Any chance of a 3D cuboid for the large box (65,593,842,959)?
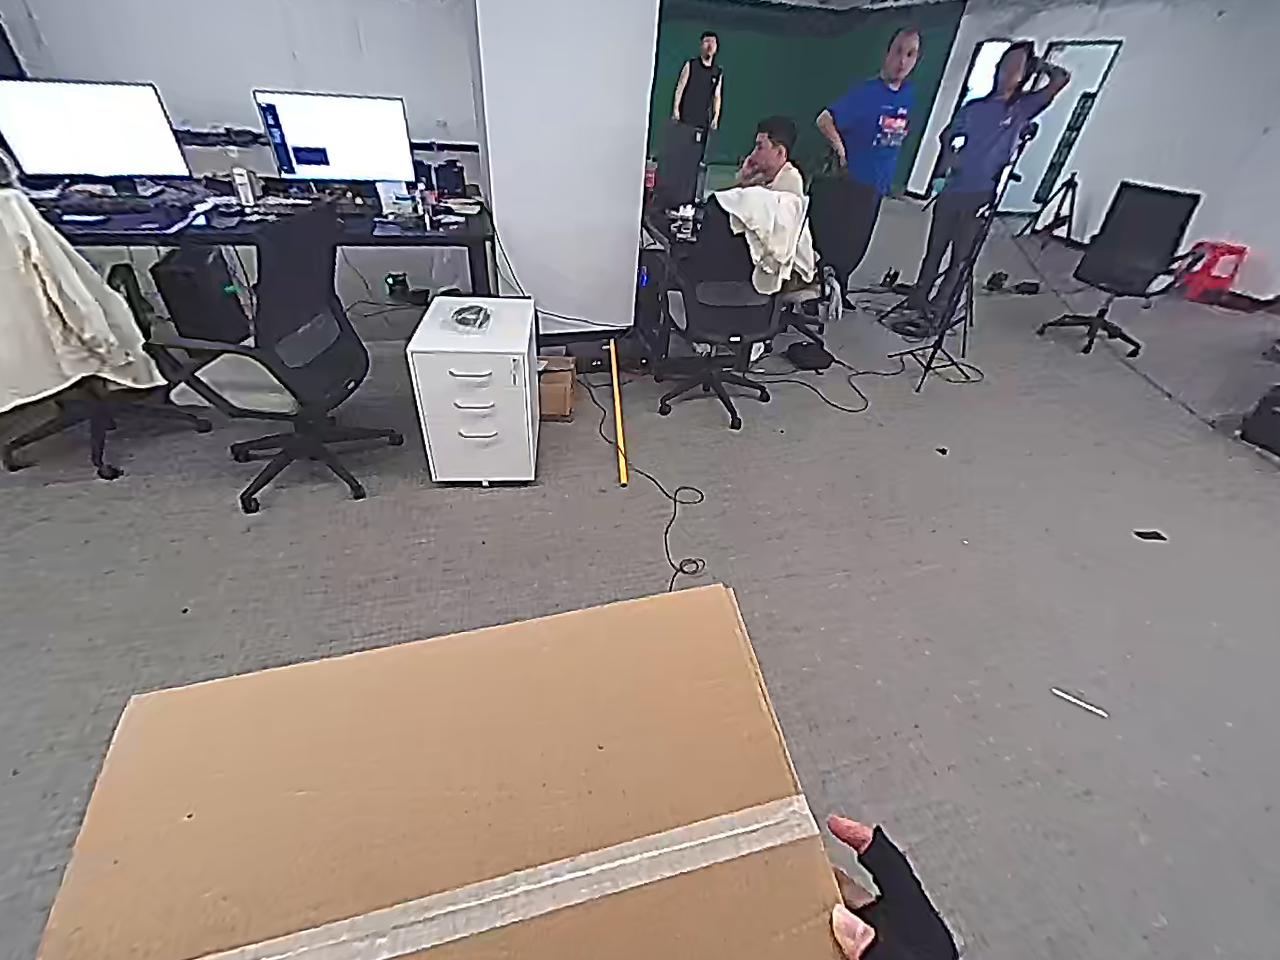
[{"bbox_3d":[-0.103,0.326,0.418,0.408,0.320,0.320,-9,52,-9],"label":"large box"}]
